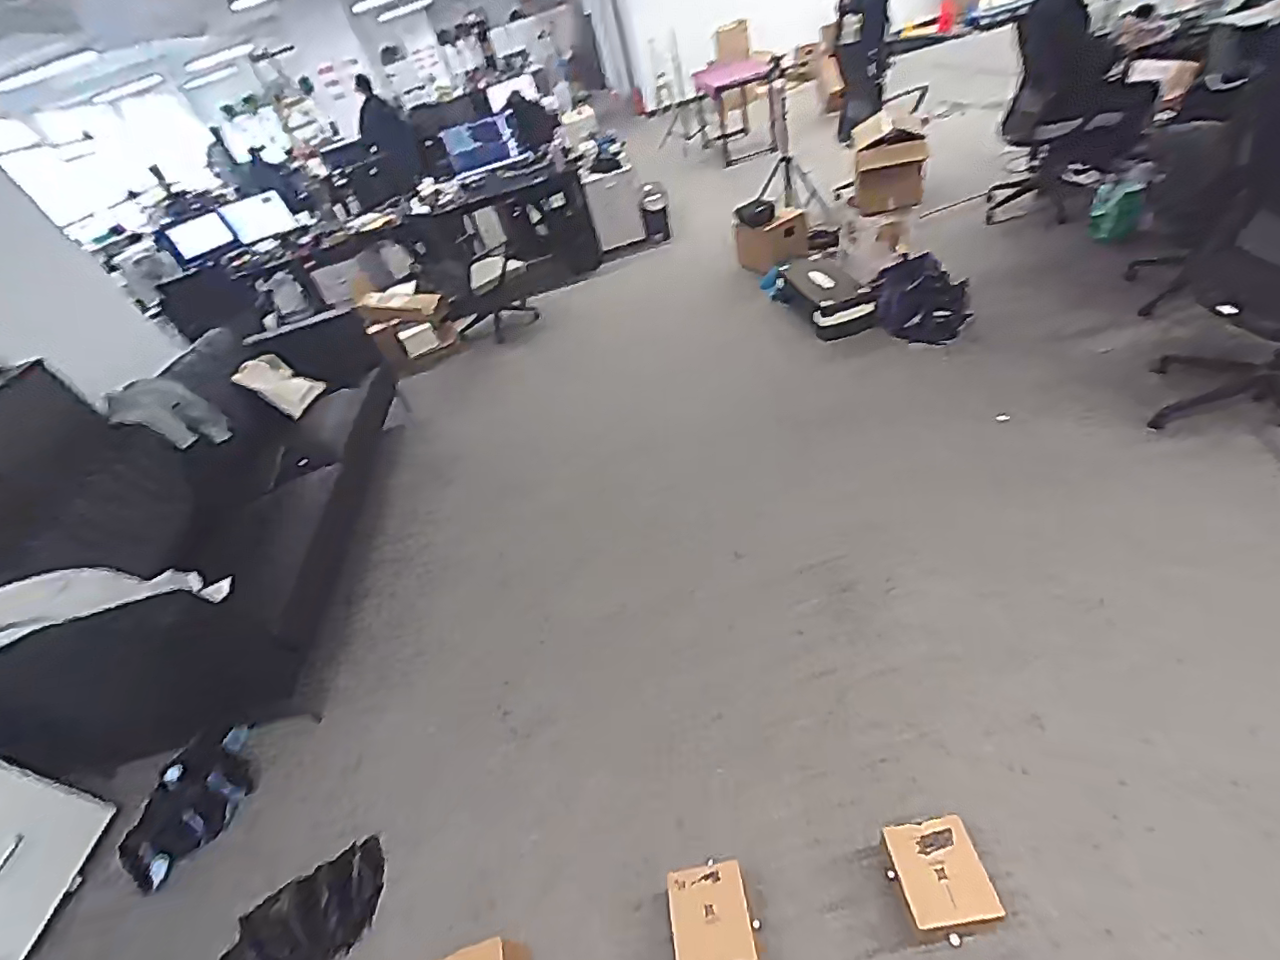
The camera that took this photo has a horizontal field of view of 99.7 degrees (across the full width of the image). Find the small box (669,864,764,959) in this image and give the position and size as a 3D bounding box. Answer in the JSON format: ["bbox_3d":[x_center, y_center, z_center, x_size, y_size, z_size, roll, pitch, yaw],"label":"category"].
[{"bbox_3d":[0.168,0.974,1.178,0.168,0.176,0.179,-14,40,5],"label":"small box"}]

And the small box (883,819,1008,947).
[{"bbox_3d":[0.627,0.850,1.139,0.168,0.176,0.179,-15,41,6],"label":"small box"}]
